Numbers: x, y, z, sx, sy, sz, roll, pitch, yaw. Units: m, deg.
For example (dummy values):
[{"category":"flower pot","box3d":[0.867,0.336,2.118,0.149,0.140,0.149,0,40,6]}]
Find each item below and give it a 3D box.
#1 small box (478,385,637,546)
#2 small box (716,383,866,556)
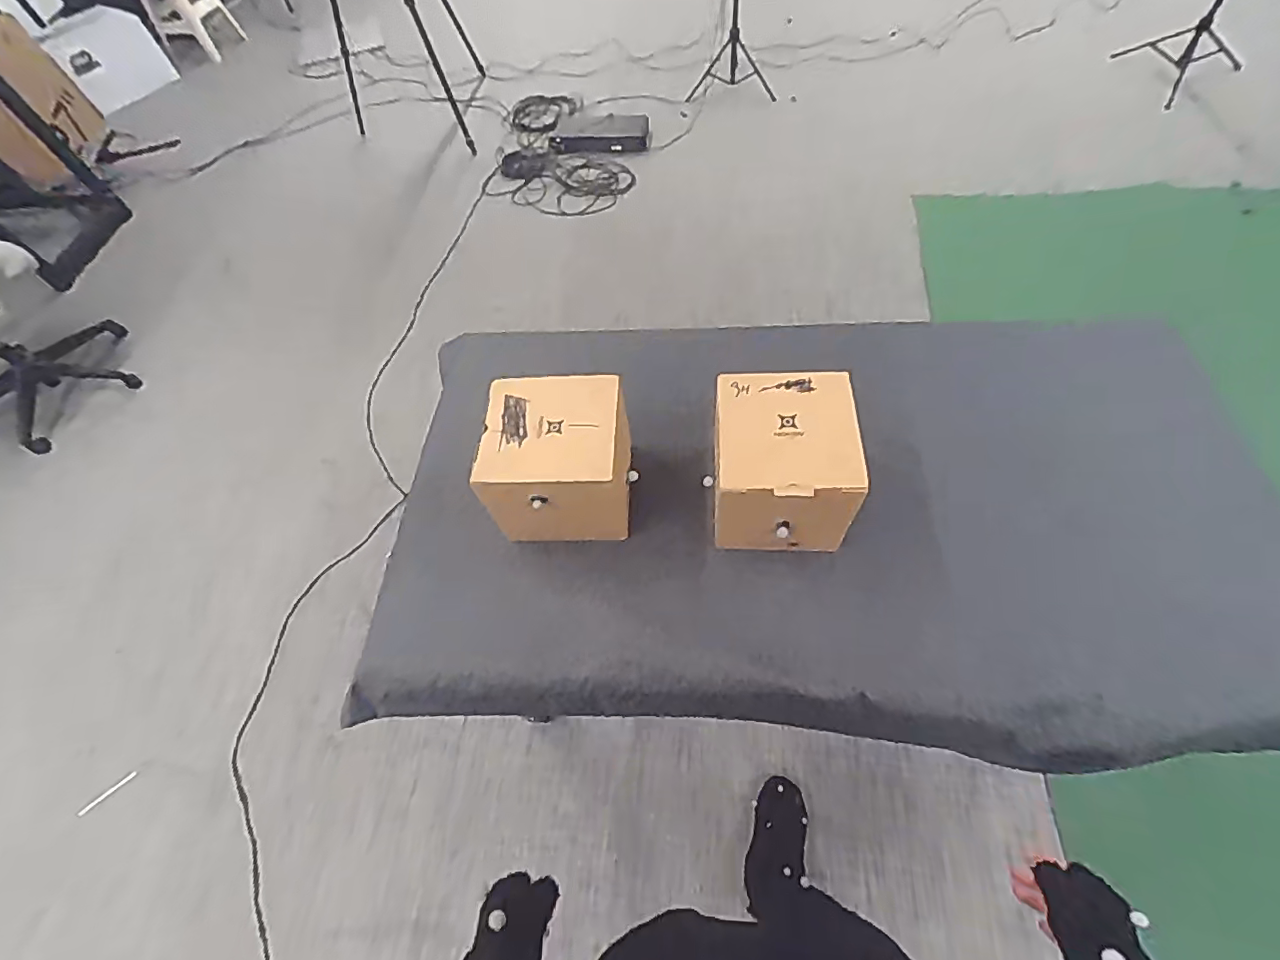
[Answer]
[{"category":"small box","box3d":[-0.102,-0.015,0.758,0.179,0.176,0.168,-1,59,5]},{"category":"small box","box3d":[0.189,-0.008,0.722,0.168,0.176,0.179,1,59,7]}]
